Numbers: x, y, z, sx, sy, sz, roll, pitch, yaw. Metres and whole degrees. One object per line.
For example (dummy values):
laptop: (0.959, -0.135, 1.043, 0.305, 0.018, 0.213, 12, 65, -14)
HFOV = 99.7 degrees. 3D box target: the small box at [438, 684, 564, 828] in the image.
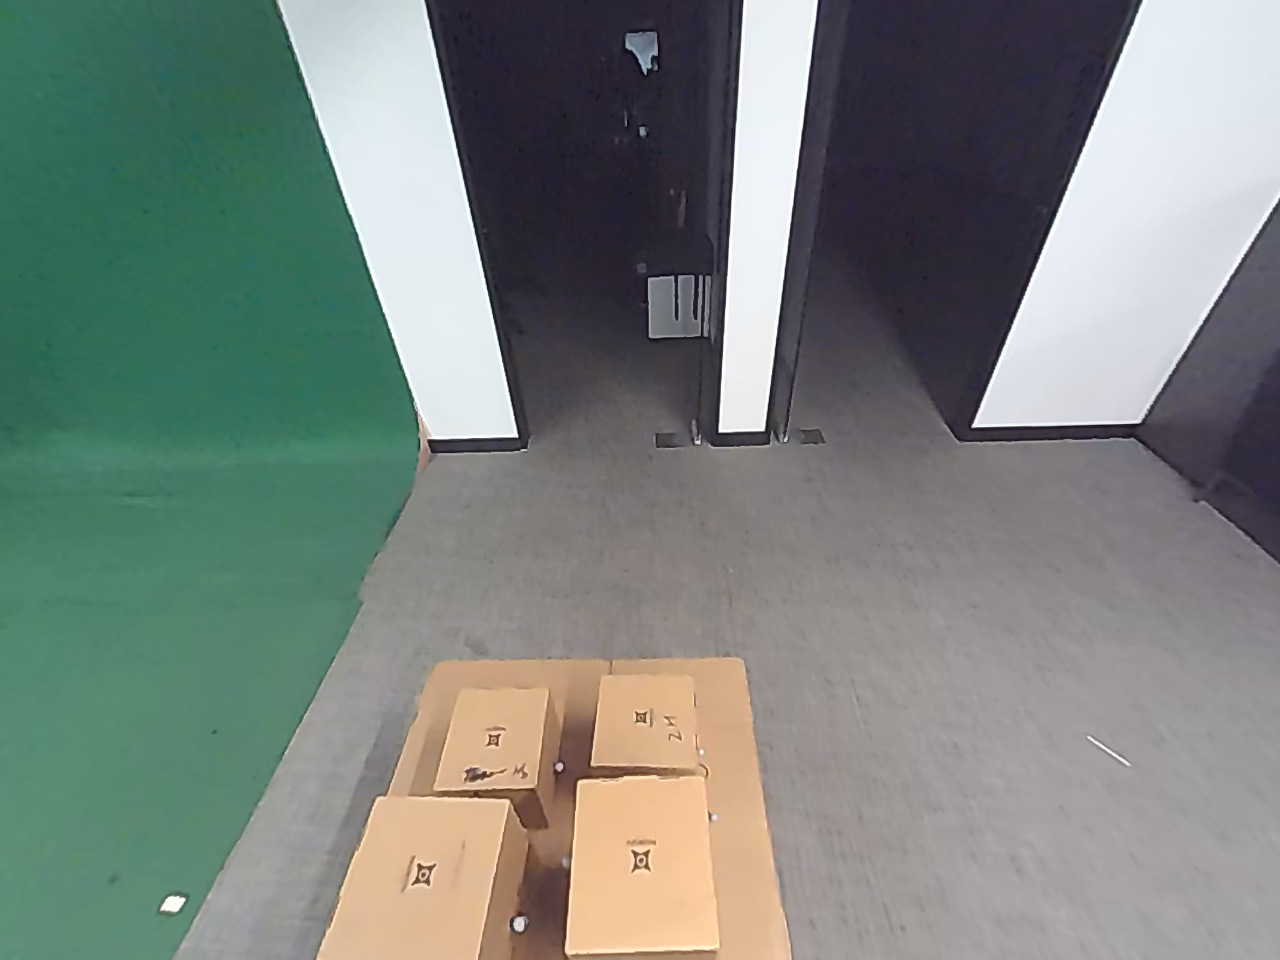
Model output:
small box: (-0.235, 0.491, 0.965, 0.168, 0.176, 0.179, -4, 37, 3)

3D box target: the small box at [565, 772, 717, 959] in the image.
small box: (0.007, 0.495, 0.680, 0.168, 0.176, 0.179, -3, 38, 2)

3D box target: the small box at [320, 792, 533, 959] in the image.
small box: (-0.247, 0.514, 0.677, 0.179, 0.176, 0.168, 0, 40, 4)
